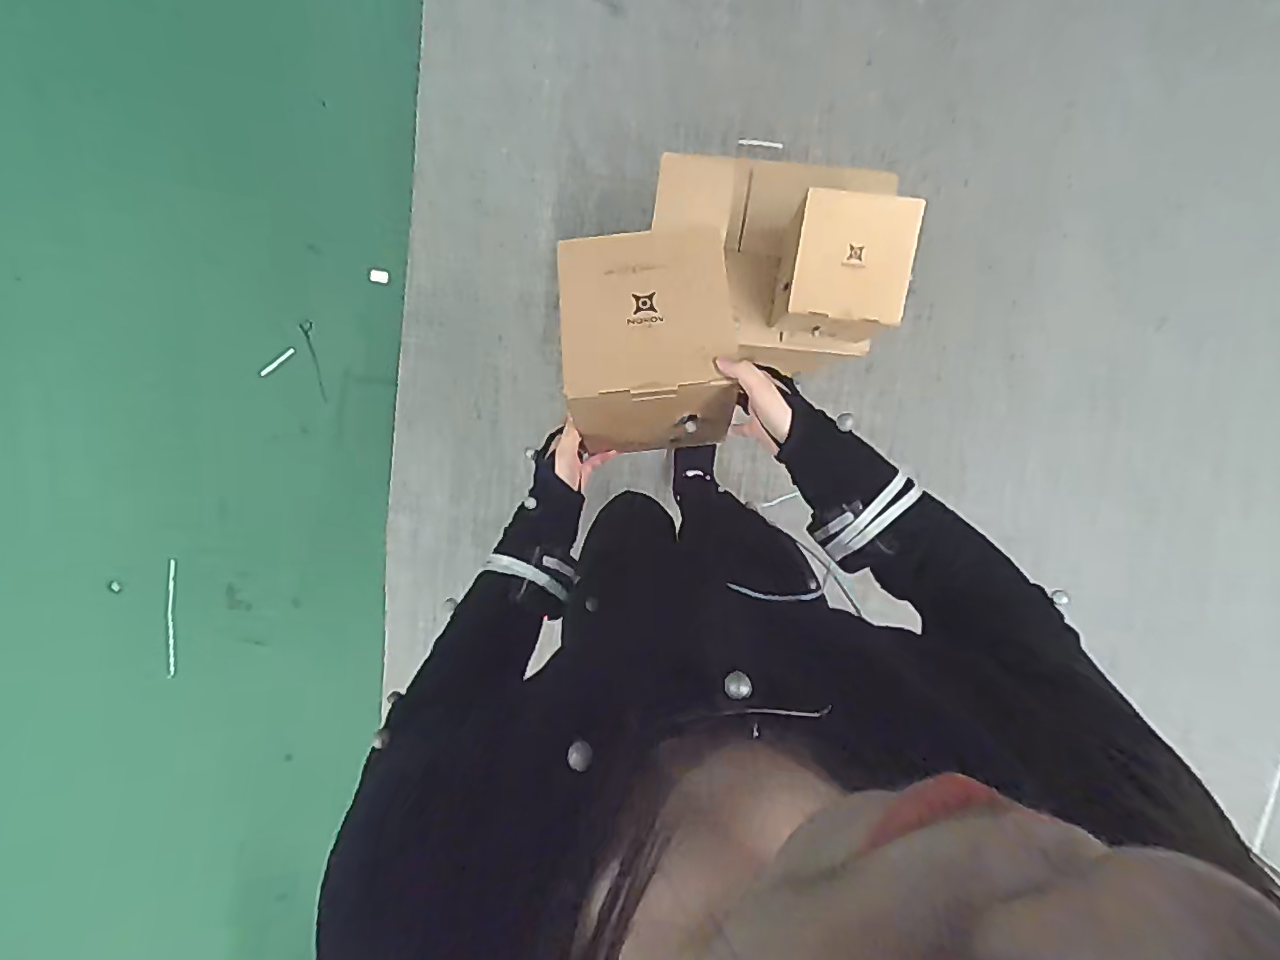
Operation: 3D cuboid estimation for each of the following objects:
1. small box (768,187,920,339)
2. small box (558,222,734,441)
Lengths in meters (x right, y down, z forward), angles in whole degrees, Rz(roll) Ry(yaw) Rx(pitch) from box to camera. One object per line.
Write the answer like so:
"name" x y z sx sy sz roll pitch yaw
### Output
"small box" 0.309 -0.331 0.855 0.168 0.176 0.179 9 99 3
"small box" 0.006 -0.149 0.598 0.168 0.176 0.179 -4 73 1
